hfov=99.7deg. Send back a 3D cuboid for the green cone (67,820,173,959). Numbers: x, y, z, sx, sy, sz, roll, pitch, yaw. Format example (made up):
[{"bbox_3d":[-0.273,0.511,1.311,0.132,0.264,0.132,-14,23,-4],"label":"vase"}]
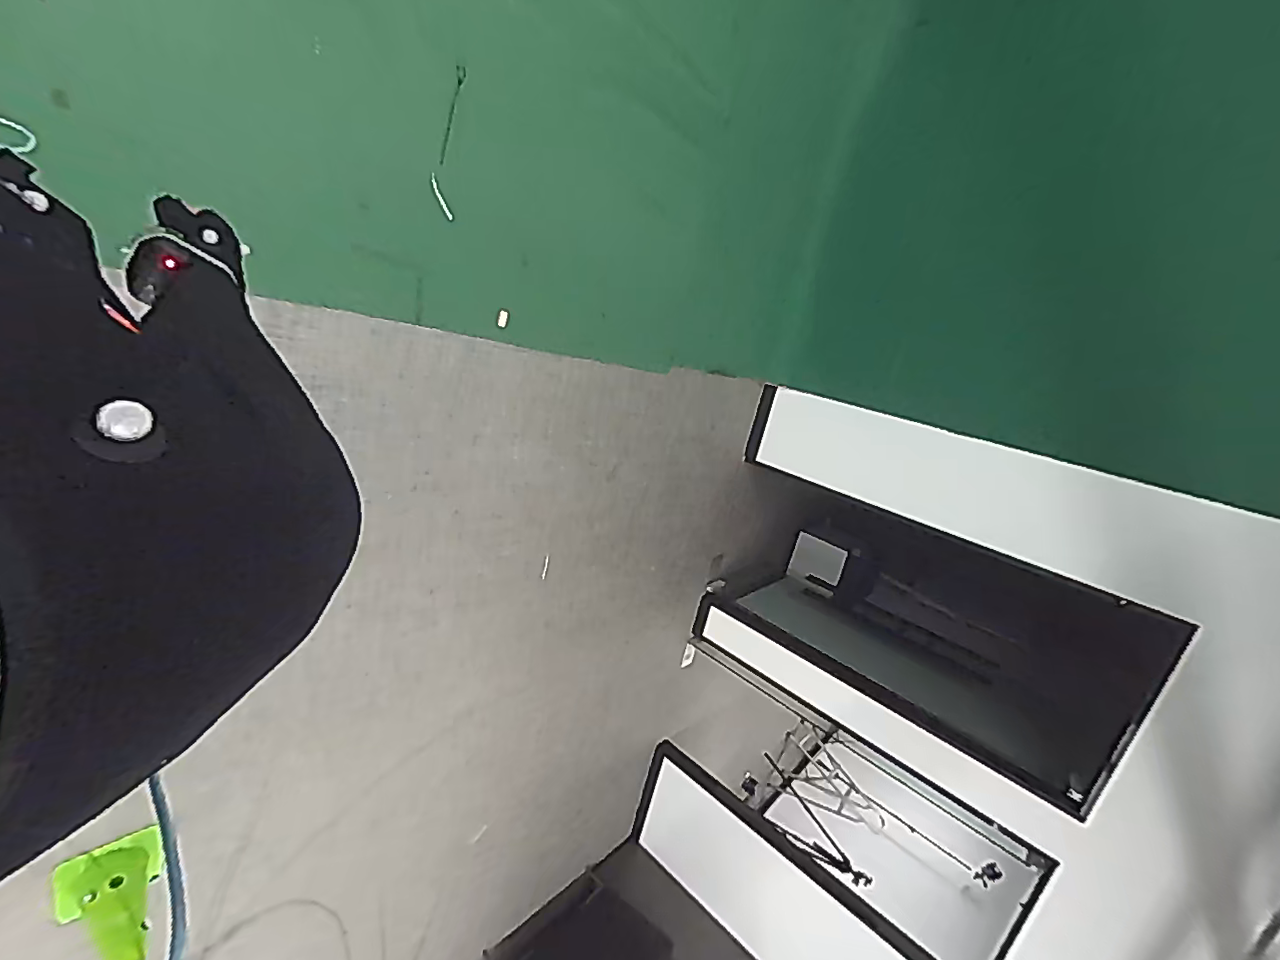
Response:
[{"bbox_3d":[-1.245,1.076,1.325,0.202,0.368,0.200,-5,114,-48],"label":"green cone"}]
